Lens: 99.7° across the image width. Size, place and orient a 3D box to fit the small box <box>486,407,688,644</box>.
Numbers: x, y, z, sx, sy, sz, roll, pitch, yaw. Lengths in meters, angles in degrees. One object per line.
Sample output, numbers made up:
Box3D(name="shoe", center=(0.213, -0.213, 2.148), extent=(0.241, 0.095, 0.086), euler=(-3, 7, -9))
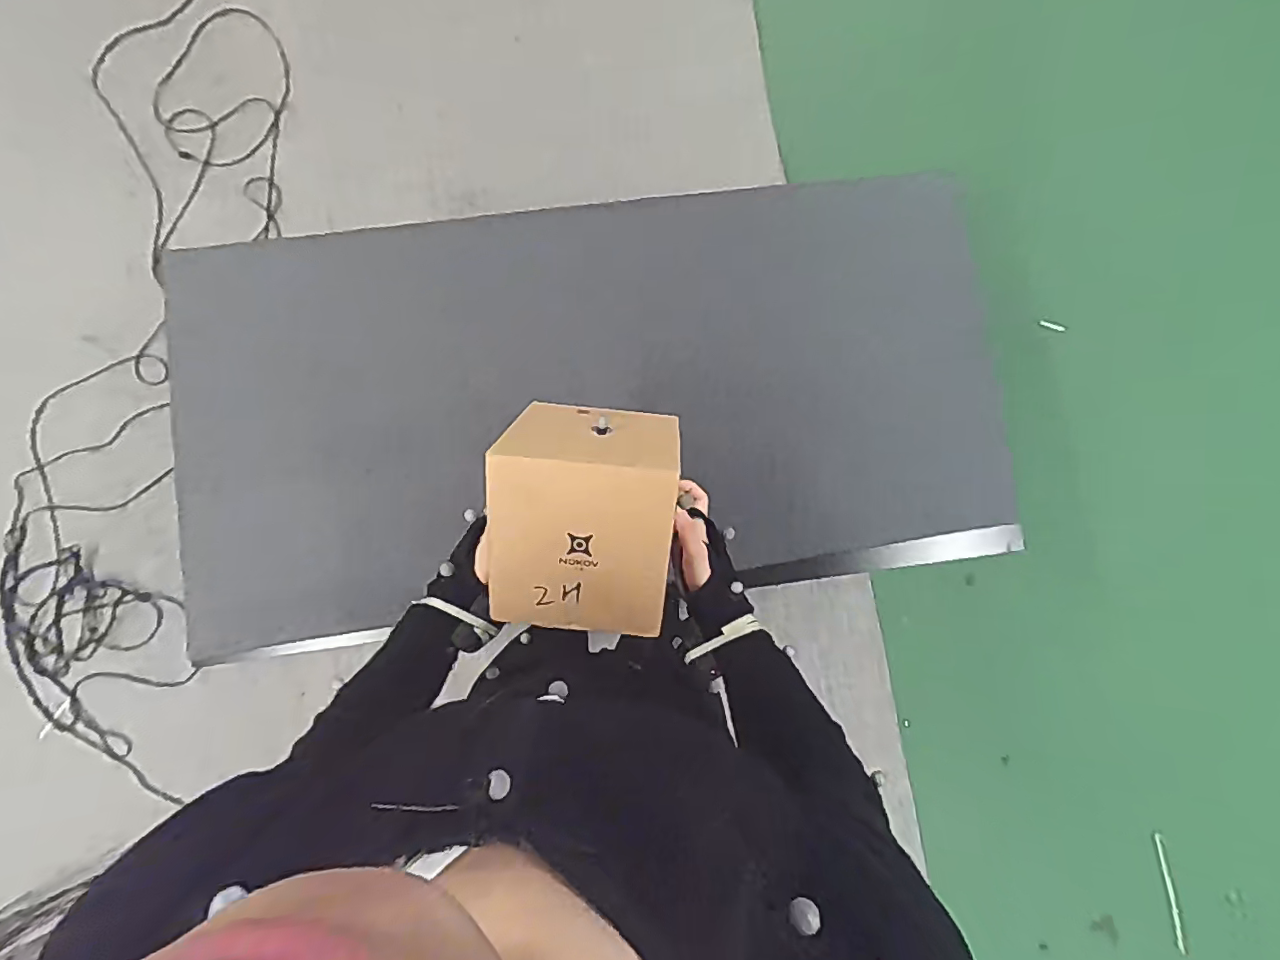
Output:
Box3D(name="small box", center=(-0.048, 0.034, 0.541), extent=(0.168, 0.176, 0.179), euler=(7, 112, 1))
